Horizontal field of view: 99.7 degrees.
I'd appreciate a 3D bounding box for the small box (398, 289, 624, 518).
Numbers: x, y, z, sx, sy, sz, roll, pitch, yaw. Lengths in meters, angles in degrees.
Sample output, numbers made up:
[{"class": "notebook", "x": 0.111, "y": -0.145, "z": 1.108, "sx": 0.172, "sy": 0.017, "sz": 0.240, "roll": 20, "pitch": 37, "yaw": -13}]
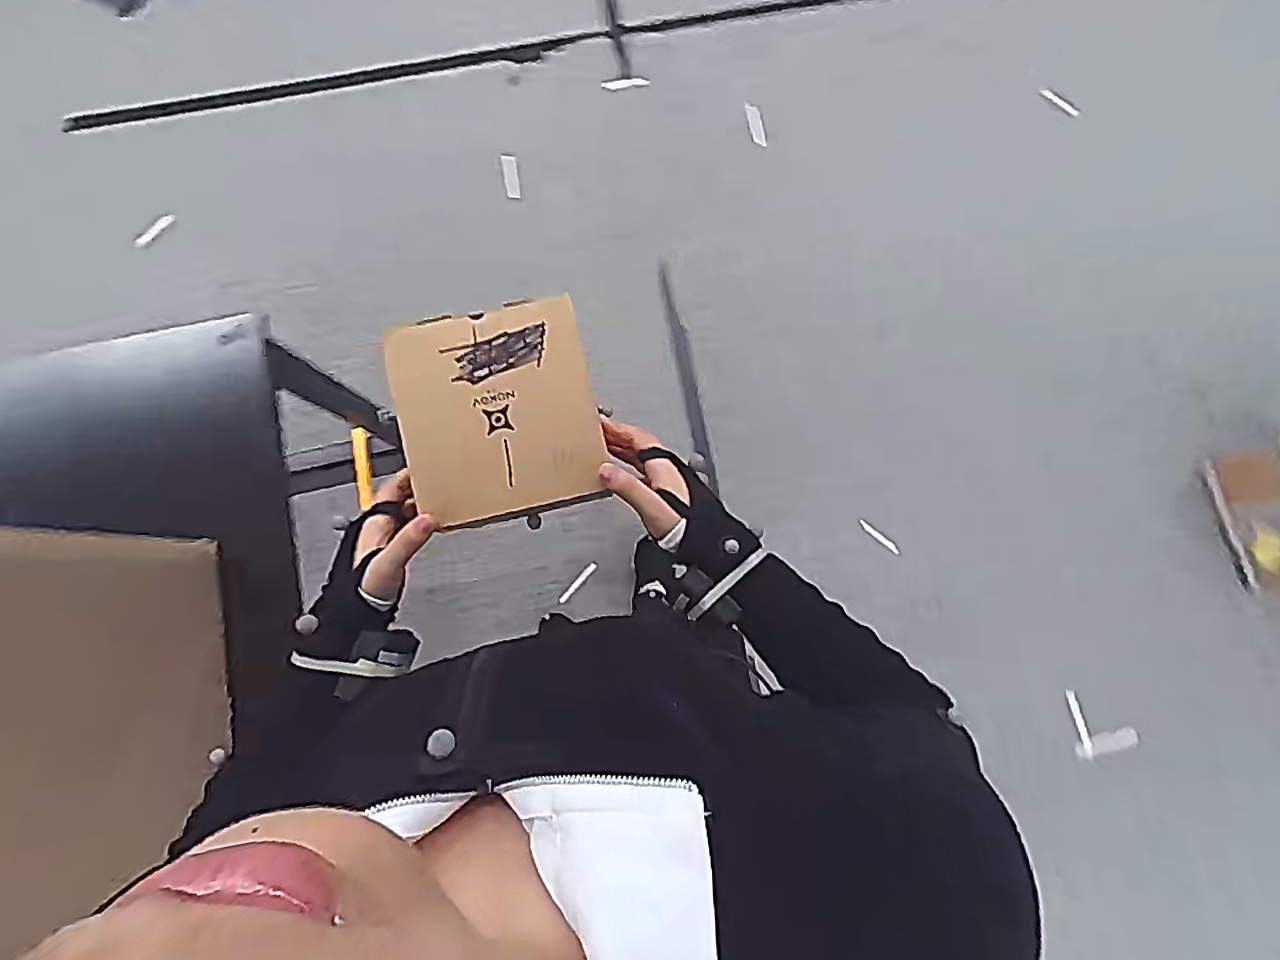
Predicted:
[{"class": "small box", "x": -0.114, "y": -0.061, "z": 0.536, "sx": 0.168, "sy": 0.176, "sz": 0.179, "roll": -12, "pitch": 87, "yaw": -4}]
